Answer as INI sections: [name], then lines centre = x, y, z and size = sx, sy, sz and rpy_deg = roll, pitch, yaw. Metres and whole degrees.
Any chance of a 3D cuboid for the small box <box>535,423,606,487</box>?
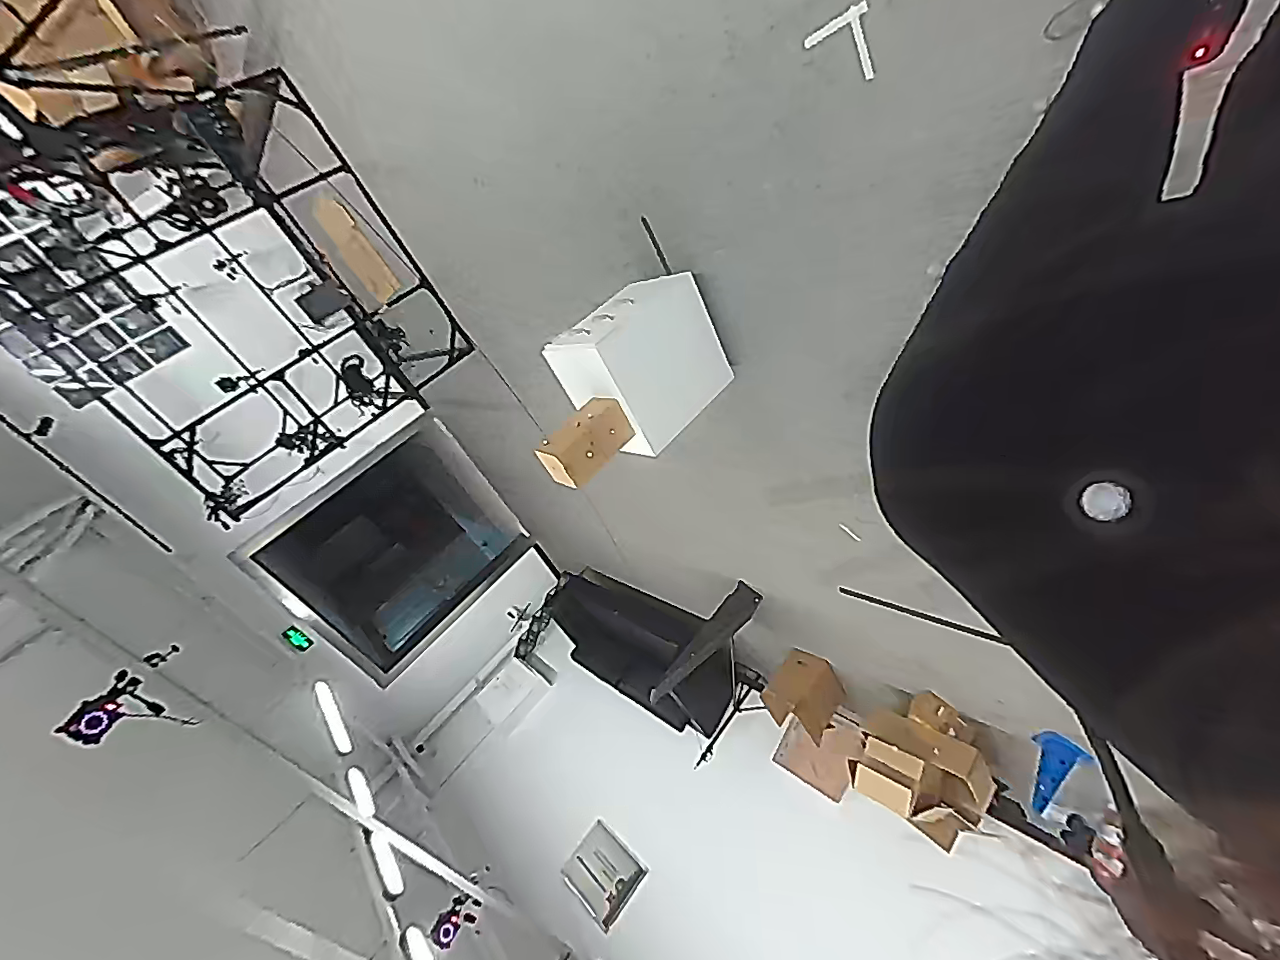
[small box]
centre = -0.262, -0.102, 2.065
size = 0.179, 0.176, 0.168
rpy_deg = 16, 145, 48
